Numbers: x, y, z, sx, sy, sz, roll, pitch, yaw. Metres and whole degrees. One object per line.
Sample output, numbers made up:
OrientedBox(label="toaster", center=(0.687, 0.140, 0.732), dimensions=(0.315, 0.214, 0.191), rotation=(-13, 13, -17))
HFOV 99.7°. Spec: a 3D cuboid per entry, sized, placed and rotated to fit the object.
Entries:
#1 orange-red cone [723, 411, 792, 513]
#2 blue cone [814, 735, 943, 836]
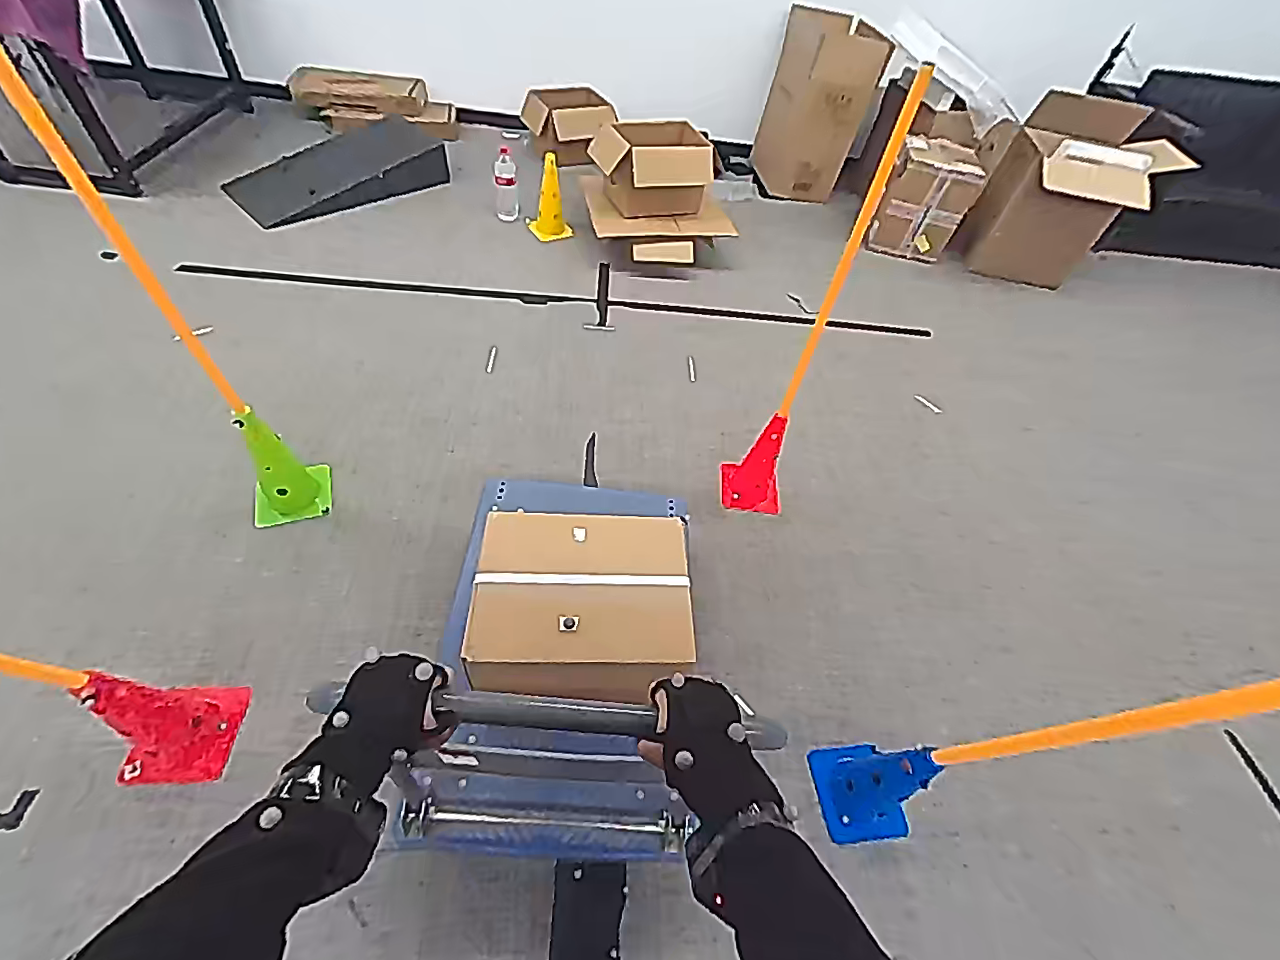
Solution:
OrientedBox(label="orange-red cone", center=(0.407, -0.083, 1.718), dimensions=(0.199, 0.360, 0.198), rotation=(9, 51, -3))
OrientedBox(label="blue cone", center=(0.551, 0.638, 1.181), dimensions=(0.193, 0.380, 0.192), rotation=(0, 50, -9))
